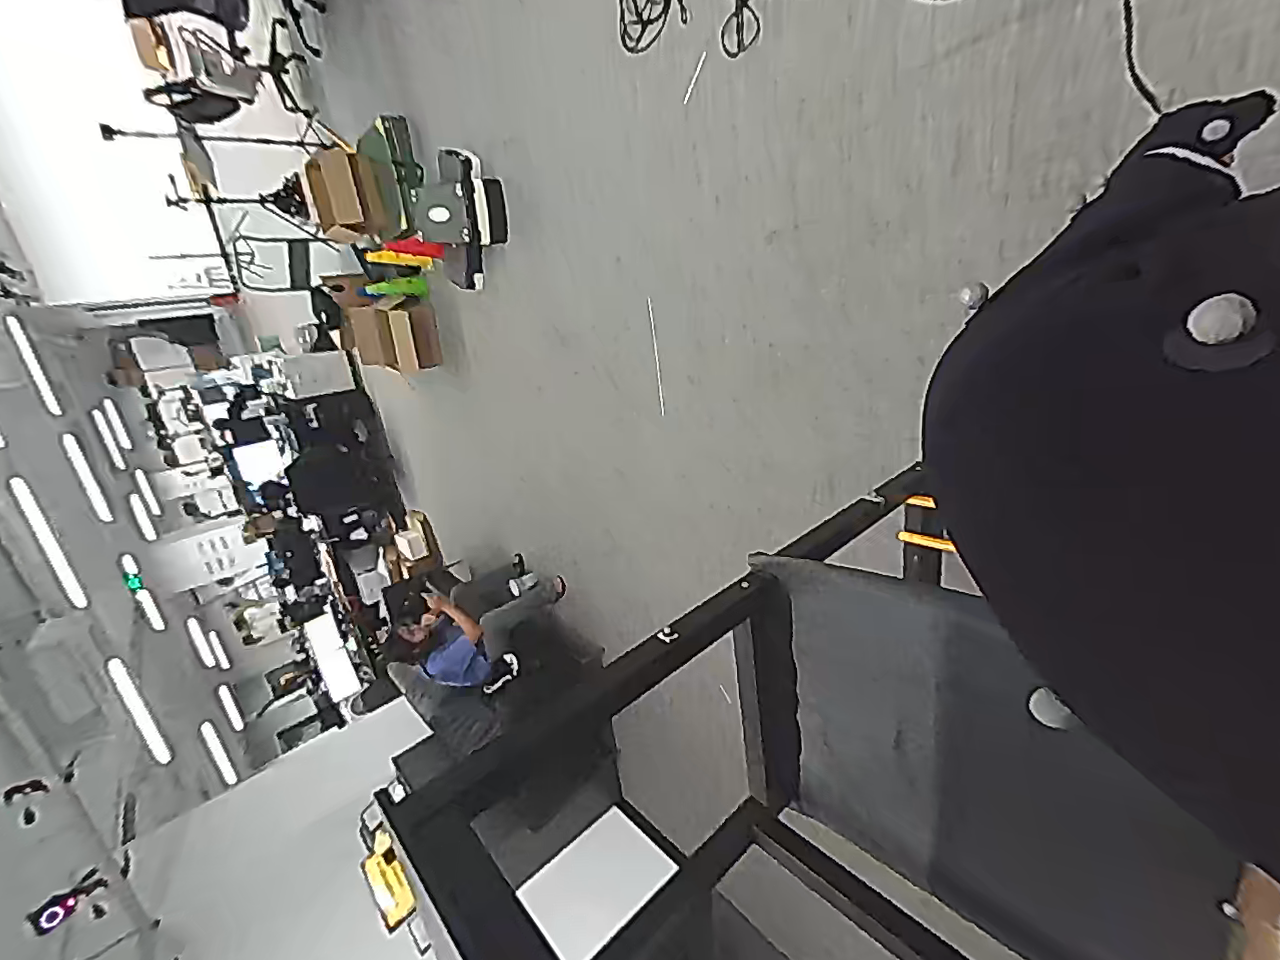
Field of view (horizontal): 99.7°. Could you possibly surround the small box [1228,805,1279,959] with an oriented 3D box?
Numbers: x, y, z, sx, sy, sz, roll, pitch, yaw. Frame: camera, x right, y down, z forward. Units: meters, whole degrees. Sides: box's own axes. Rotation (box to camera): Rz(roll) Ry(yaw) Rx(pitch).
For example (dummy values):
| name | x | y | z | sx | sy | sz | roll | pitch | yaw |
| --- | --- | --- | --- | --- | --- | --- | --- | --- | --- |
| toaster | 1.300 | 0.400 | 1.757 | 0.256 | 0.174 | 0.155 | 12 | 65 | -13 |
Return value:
| name | x | y | z | sx | sy | sz | roll | pitch | yaw |
| --- | --- | --- | --- | --- | --- | --- | --- | --- | --- |
| small box | 0.705 | 0.472 | 0.521 | 0.168 | 0.176 | 0.179 | 13 | 117 | 47 |
